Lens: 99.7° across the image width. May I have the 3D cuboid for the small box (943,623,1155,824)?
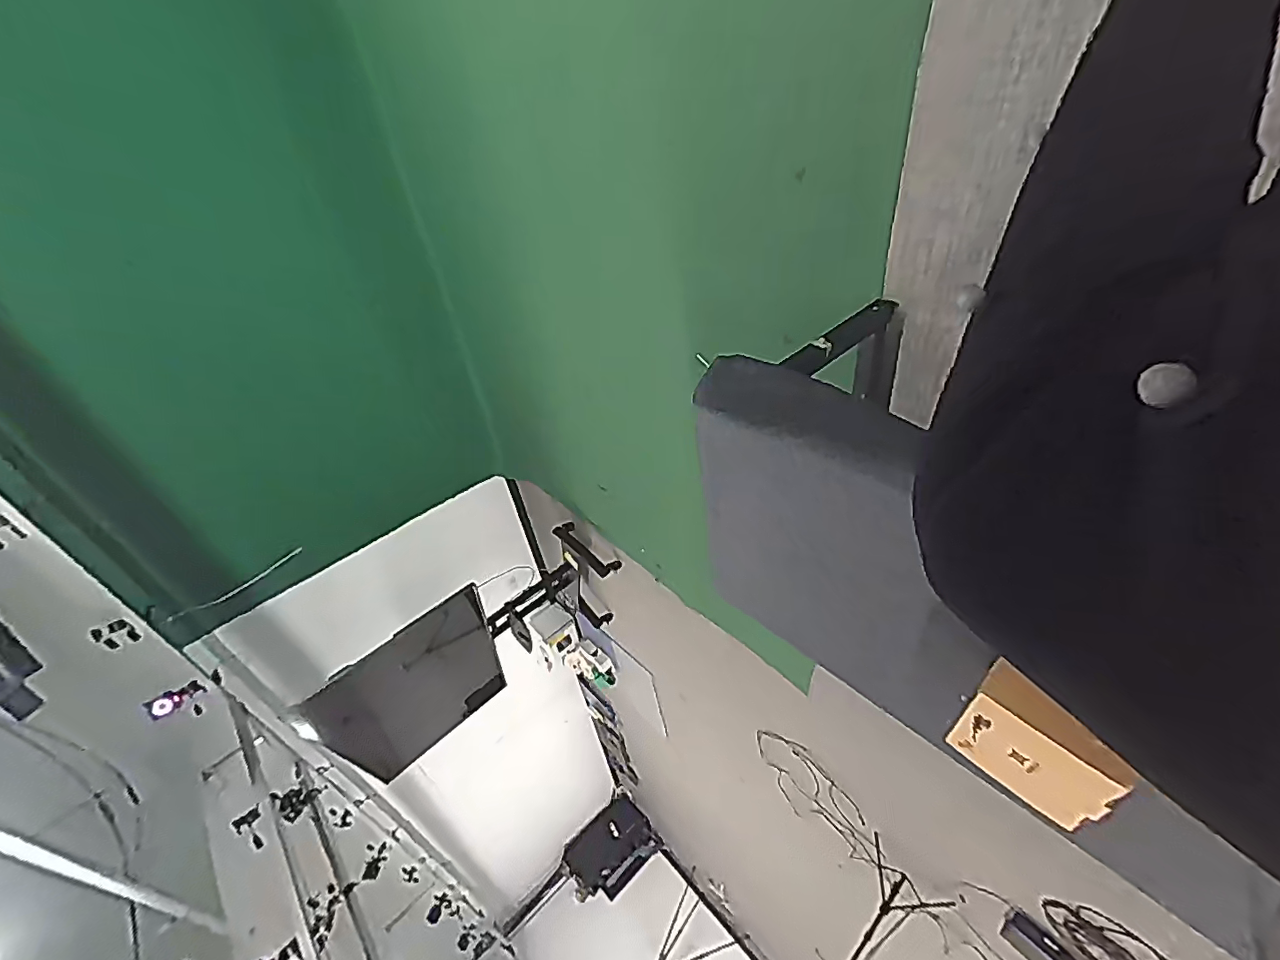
[{"bbox_3d":[0.589,0.345,0.789,0.179,0.176,0.168,34,146,36],"label":"small box"}]
